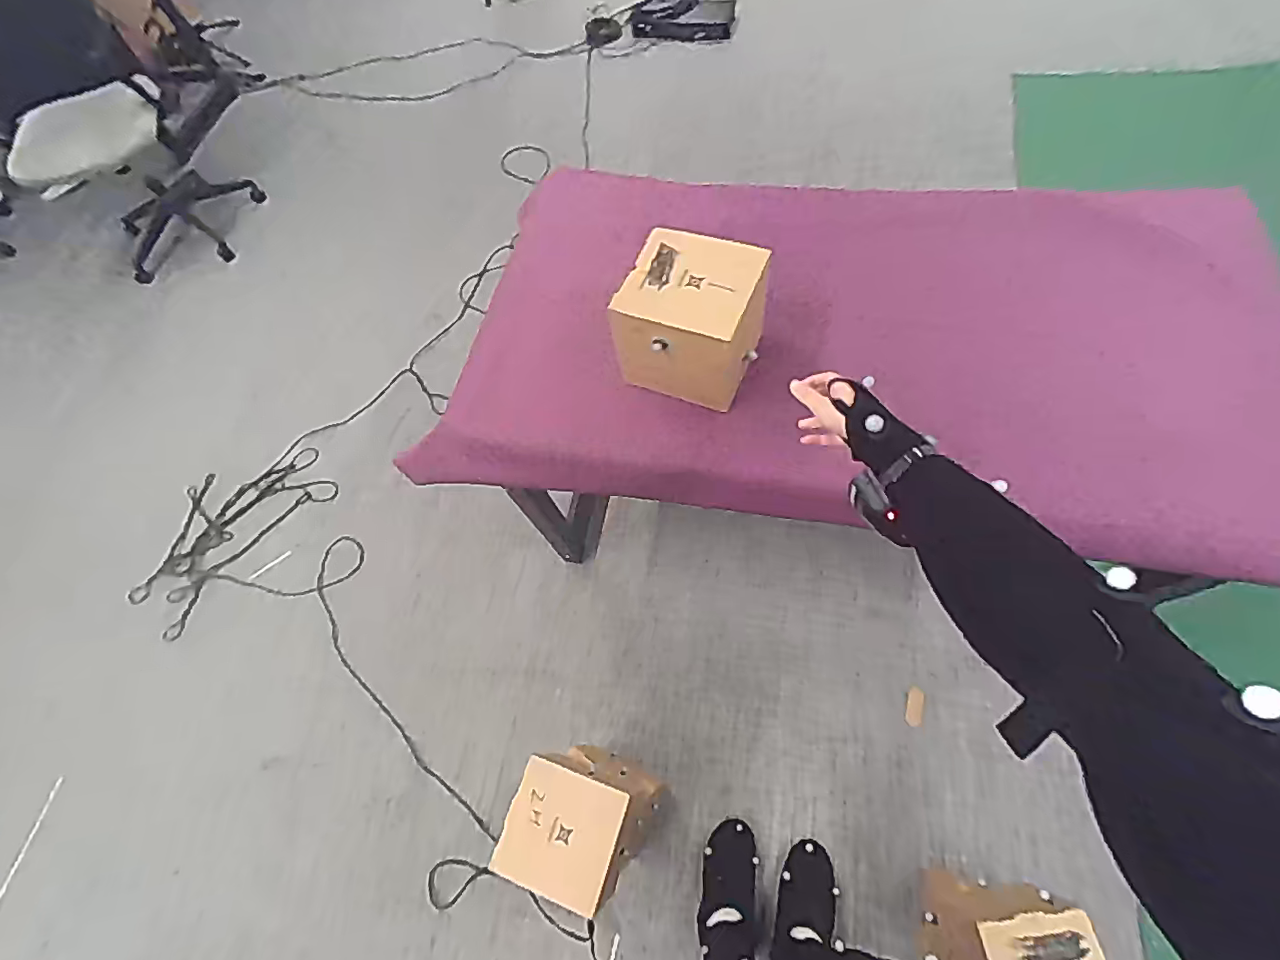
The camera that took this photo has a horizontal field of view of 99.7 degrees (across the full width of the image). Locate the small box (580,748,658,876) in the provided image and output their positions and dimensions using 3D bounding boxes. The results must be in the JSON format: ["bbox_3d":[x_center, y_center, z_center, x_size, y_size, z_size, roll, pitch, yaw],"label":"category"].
[{"bbox_3d":[-0.070,0.706,1.175,0.168,0.176,0.179,22,70,18],"label":"small box"}]

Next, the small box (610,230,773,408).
[{"bbox_3d":[0.079,-0.230,0.798,0.179,0.176,0.168,20,69,16],"label":"small box"}]

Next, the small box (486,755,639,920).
[{"bbox_3d":[-0.112,0.565,0.883,0.179,0.176,0.168,15,66,16],"label":"small box"}]

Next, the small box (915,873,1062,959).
[{"bbox_3d":[0.632,0.861,0.999,0.179,0.176,0.168,16,68,16],"label":"small box"}]
